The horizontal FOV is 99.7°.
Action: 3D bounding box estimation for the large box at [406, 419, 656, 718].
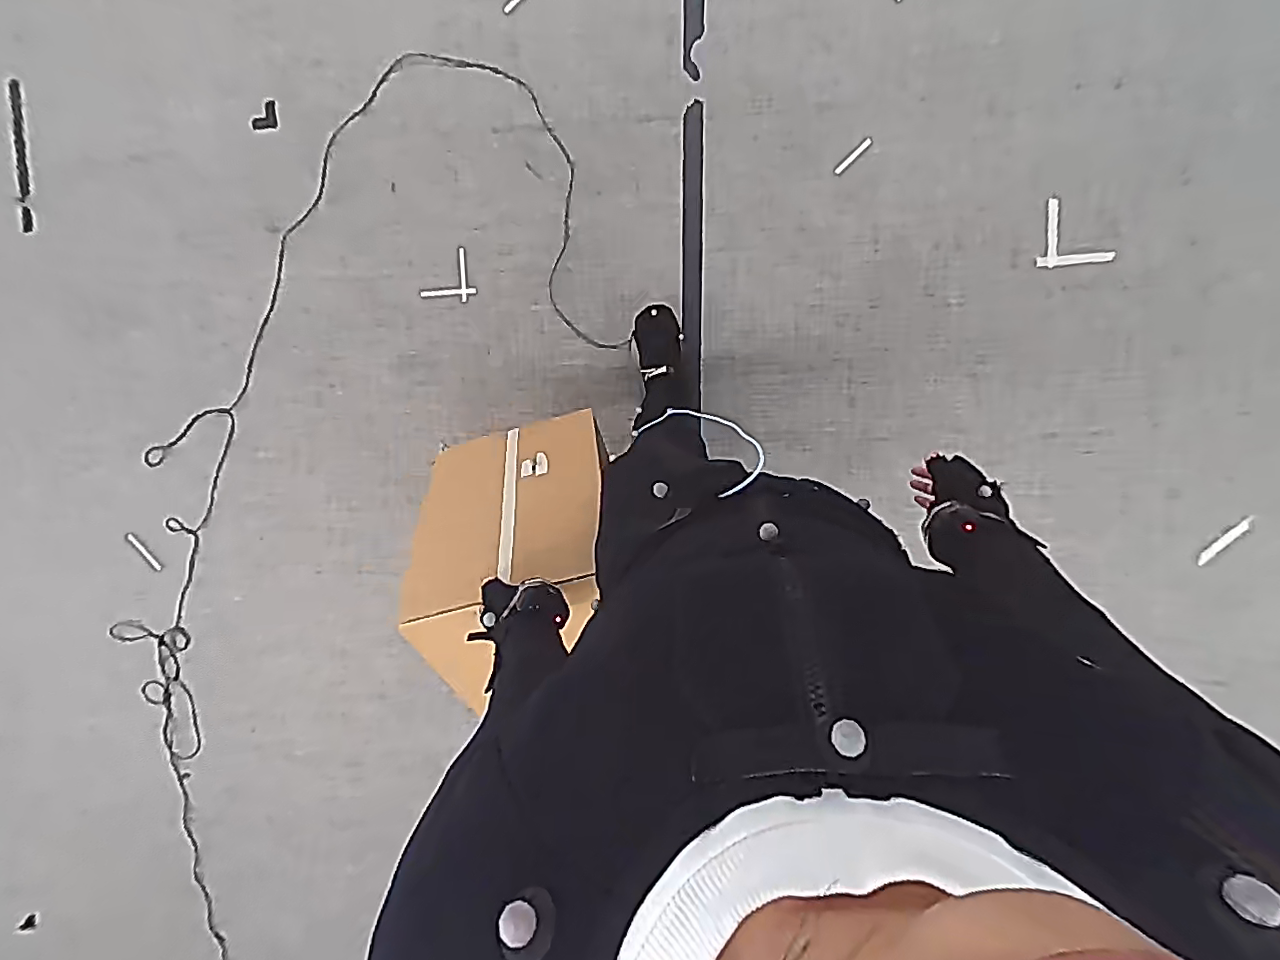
[{"bbox_3d":[-0.178,0.152,1.002,0.320,0.408,0.320,-15,129,3],"label":"large box"}]
